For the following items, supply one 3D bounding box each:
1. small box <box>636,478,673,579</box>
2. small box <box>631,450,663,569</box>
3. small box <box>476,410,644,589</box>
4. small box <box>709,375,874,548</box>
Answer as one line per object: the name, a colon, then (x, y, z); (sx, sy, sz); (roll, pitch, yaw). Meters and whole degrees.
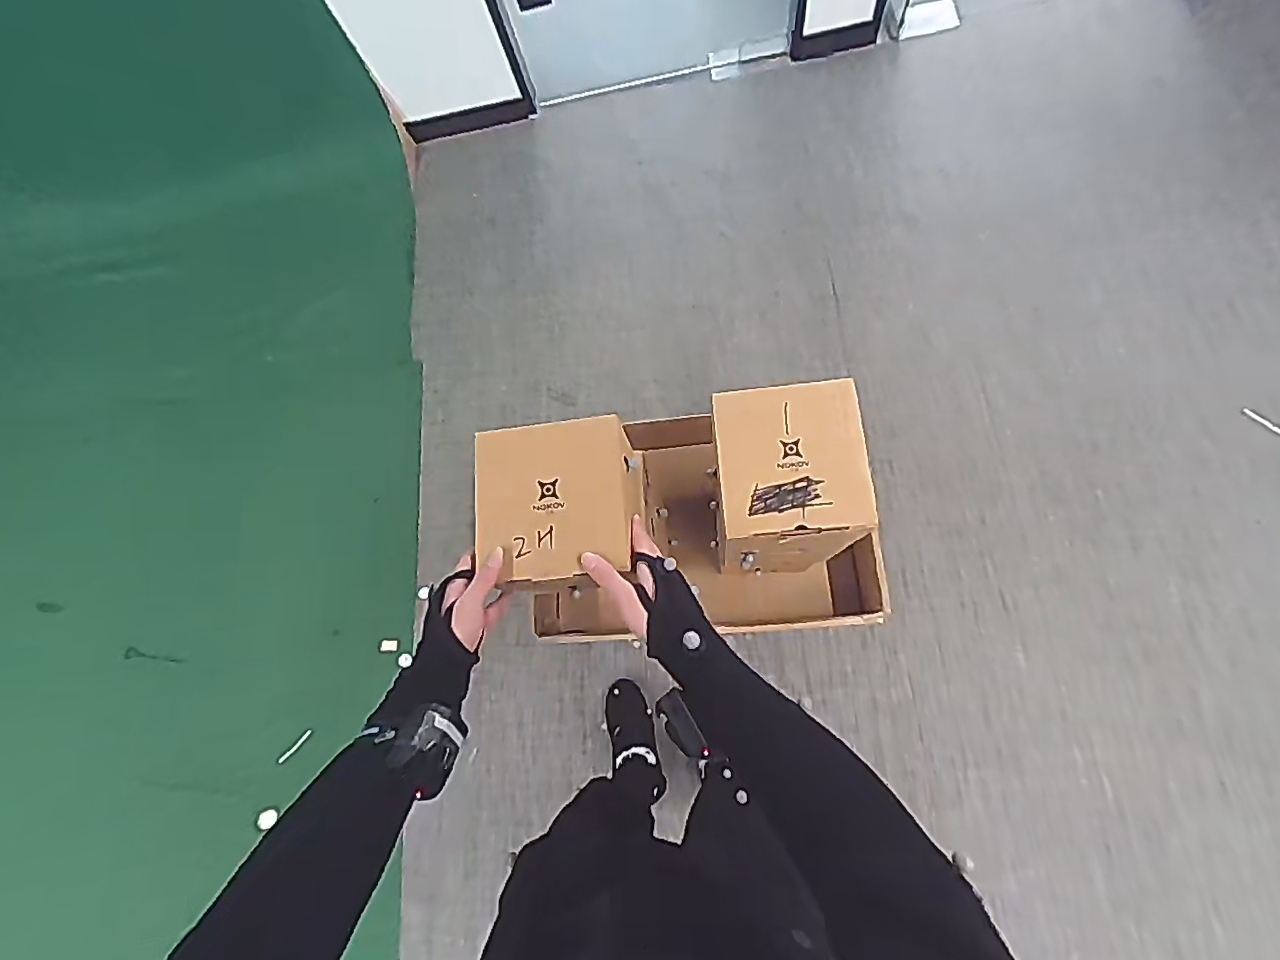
small box: (-0.036, 0.102, 1.031); (0.179, 0.176, 0.168); (-6, 75, 6)
small box: (-0.058, 0.061, 0.874); (0.179, 0.176, 0.168); (-8, 74, 5)
small box: (-0.089, 0.034, 0.664); (0.168, 0.176, 0.179); (-7, 74, 6)
small box: (0.179, -0.010, 0.684); (0.168, 0.176, 0.179); (-5, 74, 7)
